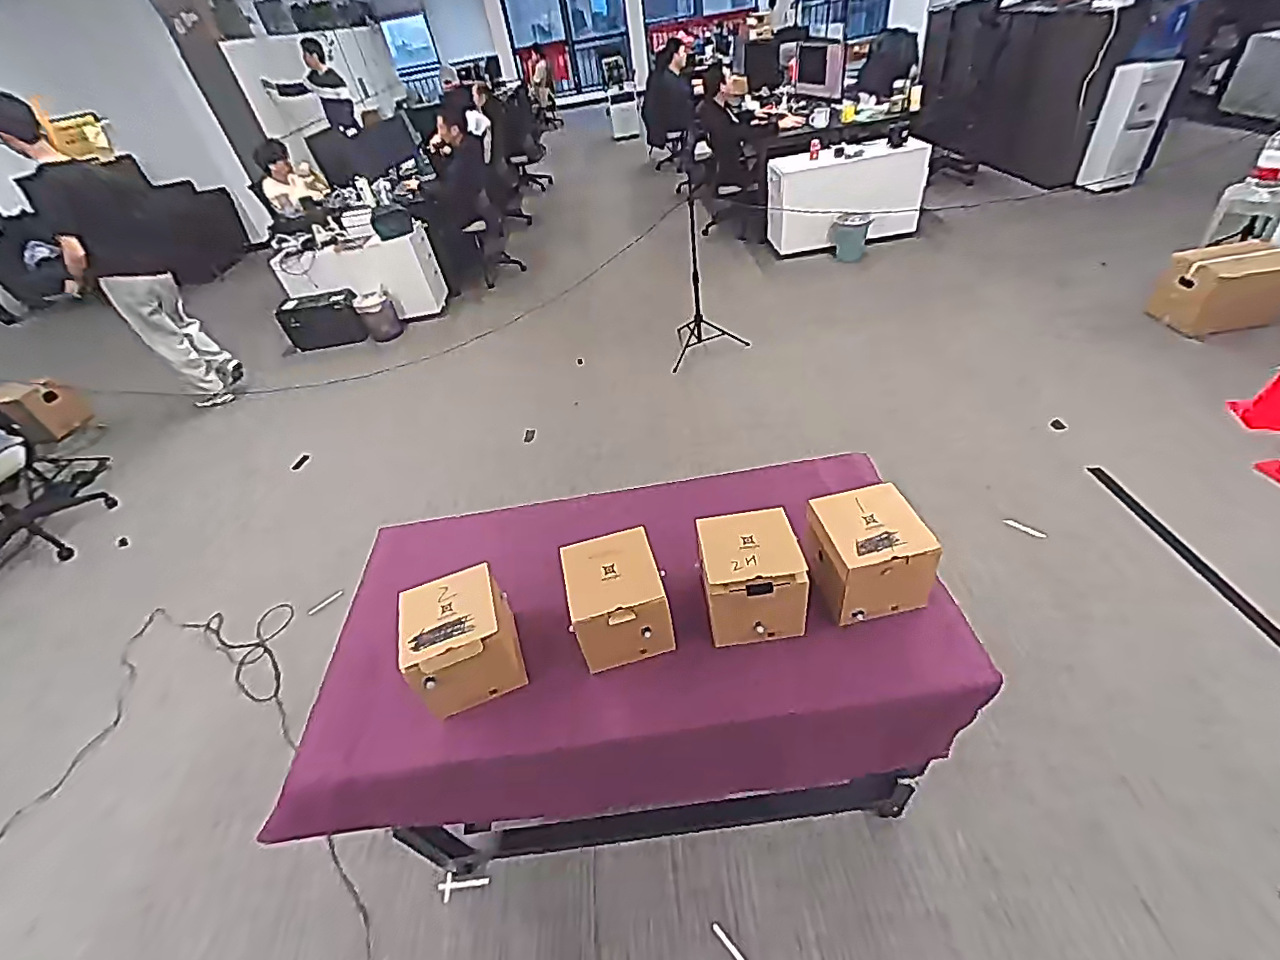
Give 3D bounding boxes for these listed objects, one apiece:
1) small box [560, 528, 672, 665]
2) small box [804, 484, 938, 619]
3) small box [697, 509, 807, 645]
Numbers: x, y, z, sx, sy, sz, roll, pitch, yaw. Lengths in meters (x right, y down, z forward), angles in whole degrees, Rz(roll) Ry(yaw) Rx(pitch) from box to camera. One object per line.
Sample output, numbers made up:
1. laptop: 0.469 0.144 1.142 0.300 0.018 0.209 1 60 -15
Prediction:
1. small box: -0.043 0.223 1.010 0.168 0.176 0.179 -14 41 -5
2. small box: 0.416 0.139 1.006 0.168 0.176 0.179 -12 40 -1
3. small box: 0.200 0.180 1.004 0.168 0.176 0.179 -8 42 3
